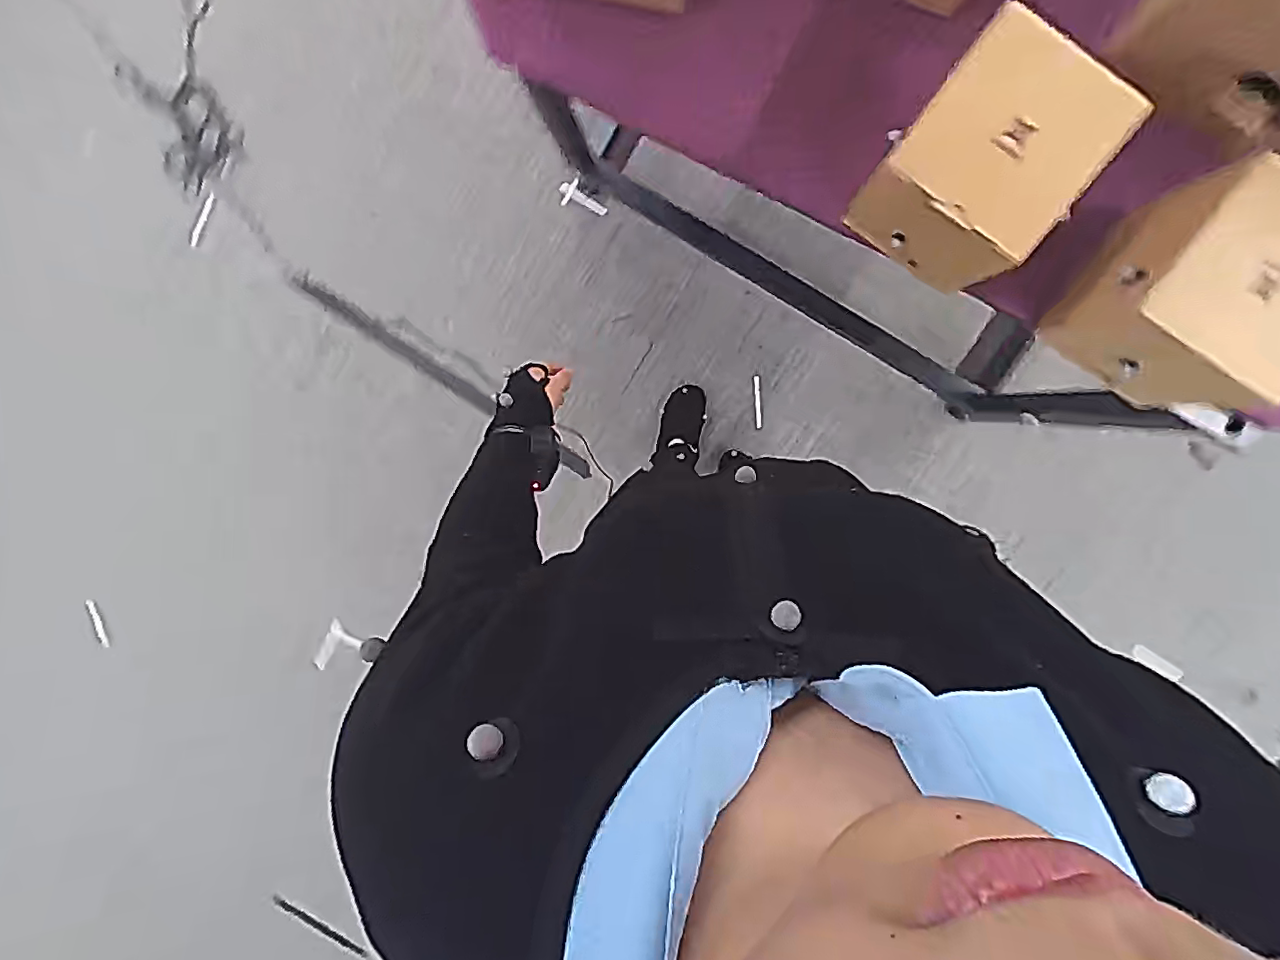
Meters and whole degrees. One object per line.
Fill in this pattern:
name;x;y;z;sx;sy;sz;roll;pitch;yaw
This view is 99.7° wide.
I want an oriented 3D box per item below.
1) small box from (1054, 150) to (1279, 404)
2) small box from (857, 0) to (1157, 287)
small box;0.605;-0.196;0.584;0.168;0.176;0.179;36;98;0
small box;0.371;-0.342;0.590;0.168;0.176;0.179;37;101;-1
